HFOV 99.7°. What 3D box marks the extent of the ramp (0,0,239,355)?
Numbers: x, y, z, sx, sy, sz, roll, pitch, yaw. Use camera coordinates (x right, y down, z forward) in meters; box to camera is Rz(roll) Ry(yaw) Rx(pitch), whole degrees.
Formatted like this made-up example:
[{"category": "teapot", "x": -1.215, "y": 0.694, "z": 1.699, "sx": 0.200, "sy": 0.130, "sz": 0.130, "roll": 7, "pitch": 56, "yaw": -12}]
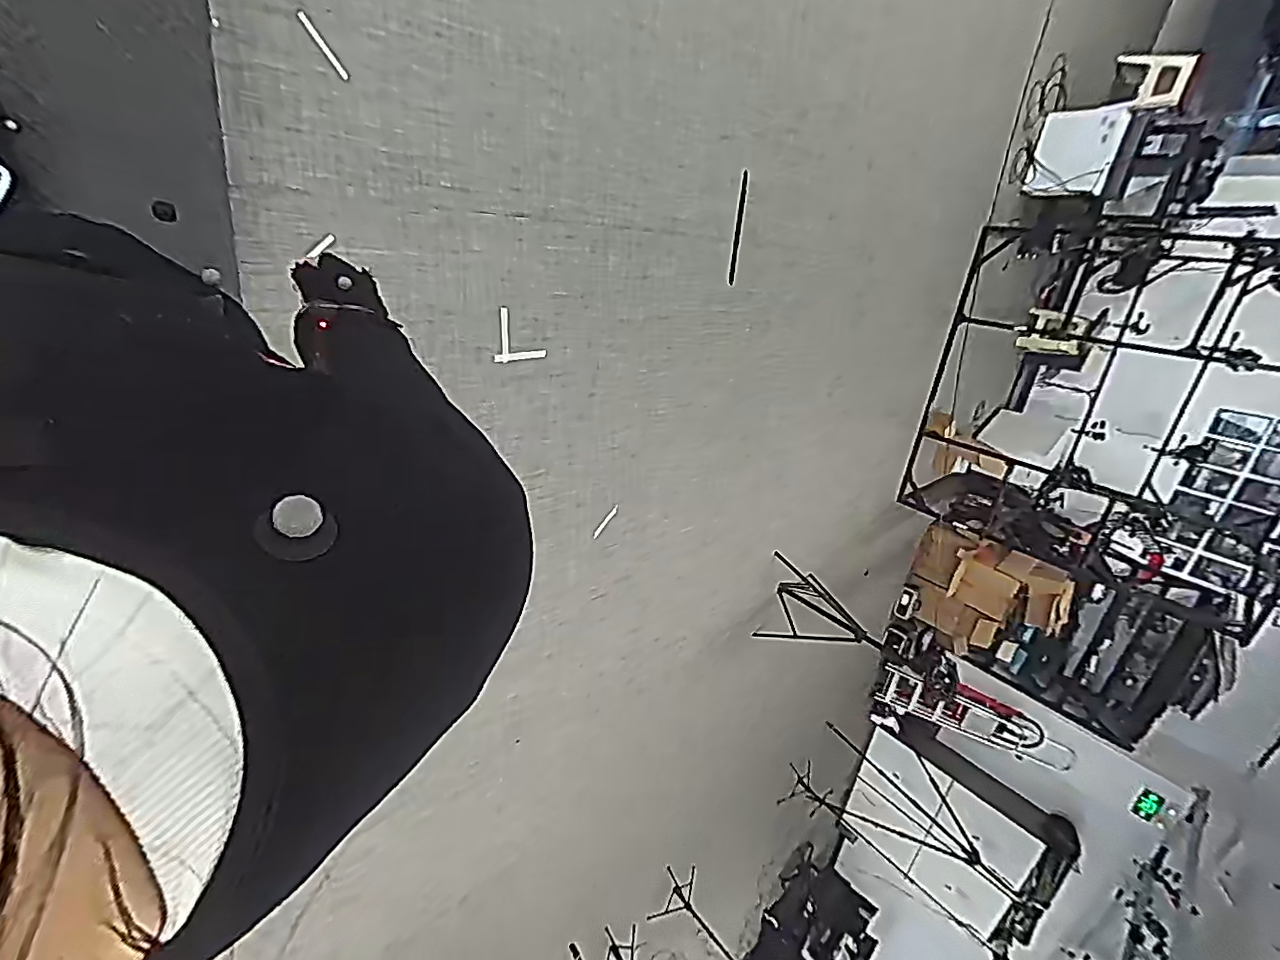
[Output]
[{"category": "ramp", "x": -0.941, "y": -0.659, "z": 0.798, "sx": 0.509, "sy": 0.206, "sz": 0.991, "roll": -15, "pitch": 122, "yaw": -40}]
